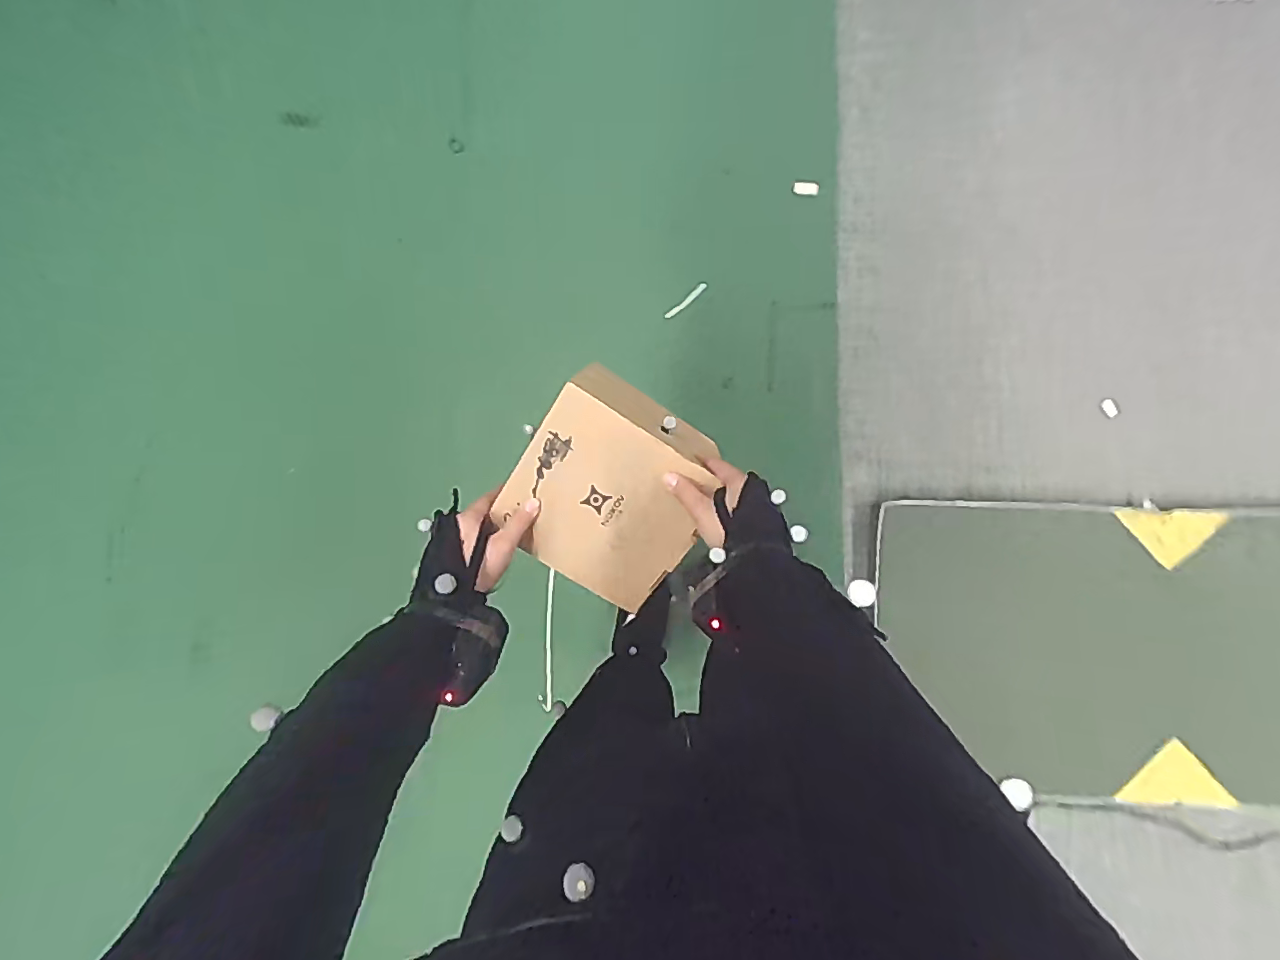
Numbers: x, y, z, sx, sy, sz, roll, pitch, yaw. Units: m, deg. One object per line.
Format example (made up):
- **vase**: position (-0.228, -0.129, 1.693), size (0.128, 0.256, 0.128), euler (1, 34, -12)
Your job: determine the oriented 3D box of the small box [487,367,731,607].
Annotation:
- **small box**: position (-0.028, -0.005, 0.581), size (0.179, 0.176, 0.168), euler (34, 106, -9)
